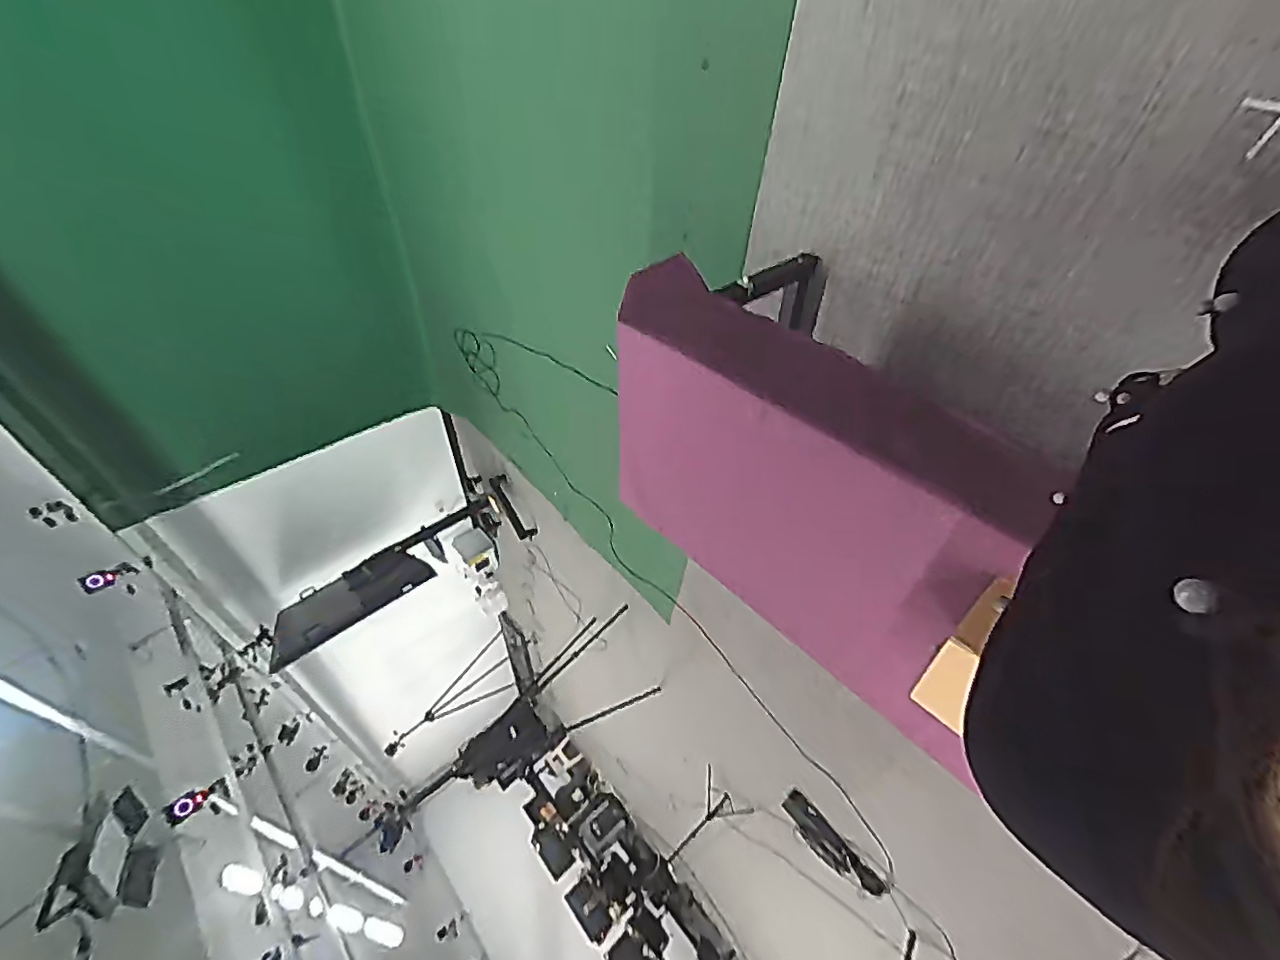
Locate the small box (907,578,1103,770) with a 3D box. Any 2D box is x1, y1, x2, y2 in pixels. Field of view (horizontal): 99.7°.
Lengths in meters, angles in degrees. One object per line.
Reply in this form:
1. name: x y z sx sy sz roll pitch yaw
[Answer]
1. small box: 0.542 0.280 0.807 0.168 0.176 0.179 37 145 33
